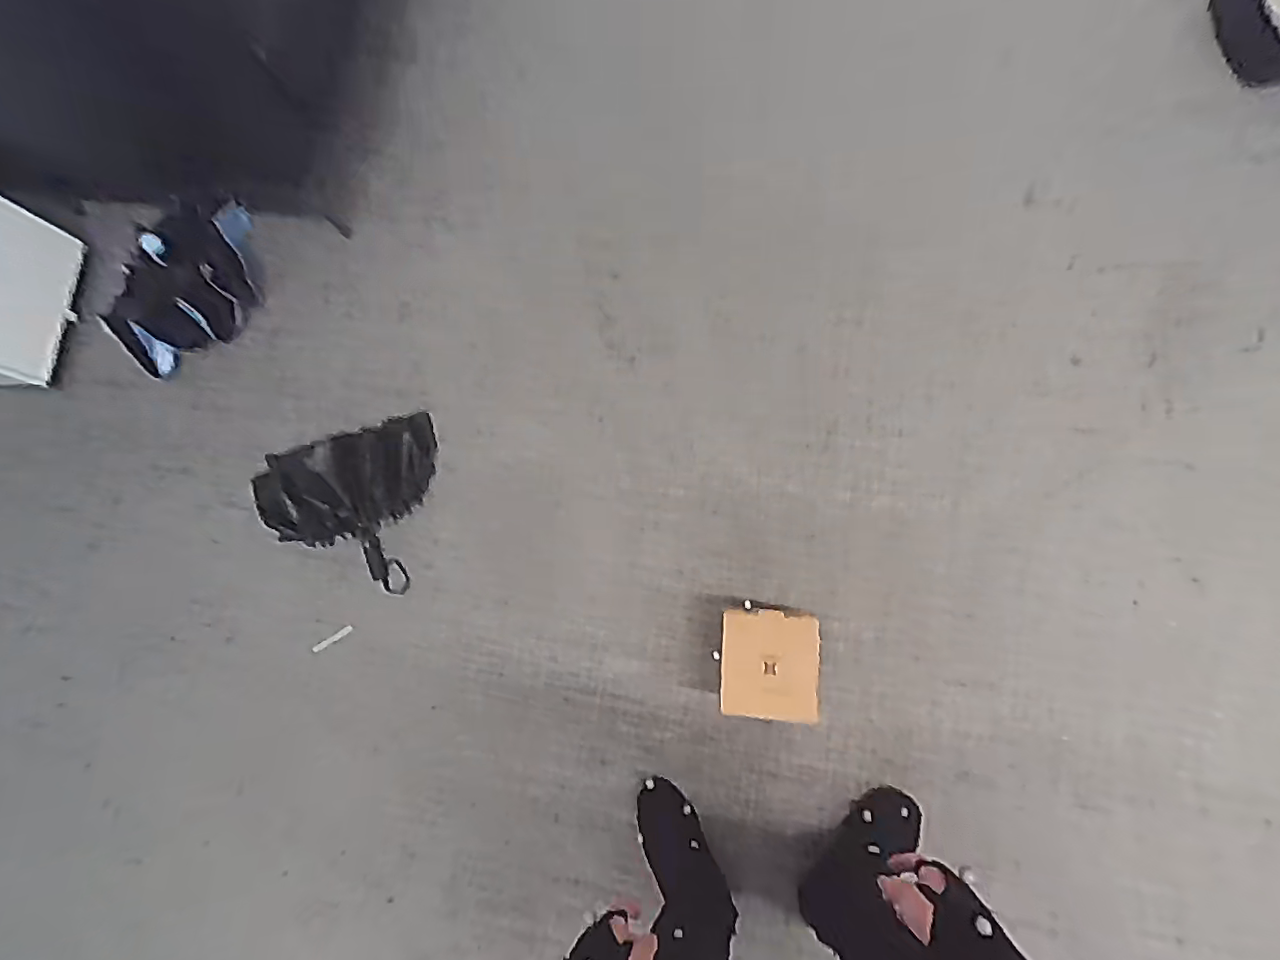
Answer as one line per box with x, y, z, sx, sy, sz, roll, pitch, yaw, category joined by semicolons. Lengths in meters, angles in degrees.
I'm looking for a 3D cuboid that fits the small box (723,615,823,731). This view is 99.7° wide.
0.240;0.347;1.006;0.168;0.176;0.179;1;80;9;small box
